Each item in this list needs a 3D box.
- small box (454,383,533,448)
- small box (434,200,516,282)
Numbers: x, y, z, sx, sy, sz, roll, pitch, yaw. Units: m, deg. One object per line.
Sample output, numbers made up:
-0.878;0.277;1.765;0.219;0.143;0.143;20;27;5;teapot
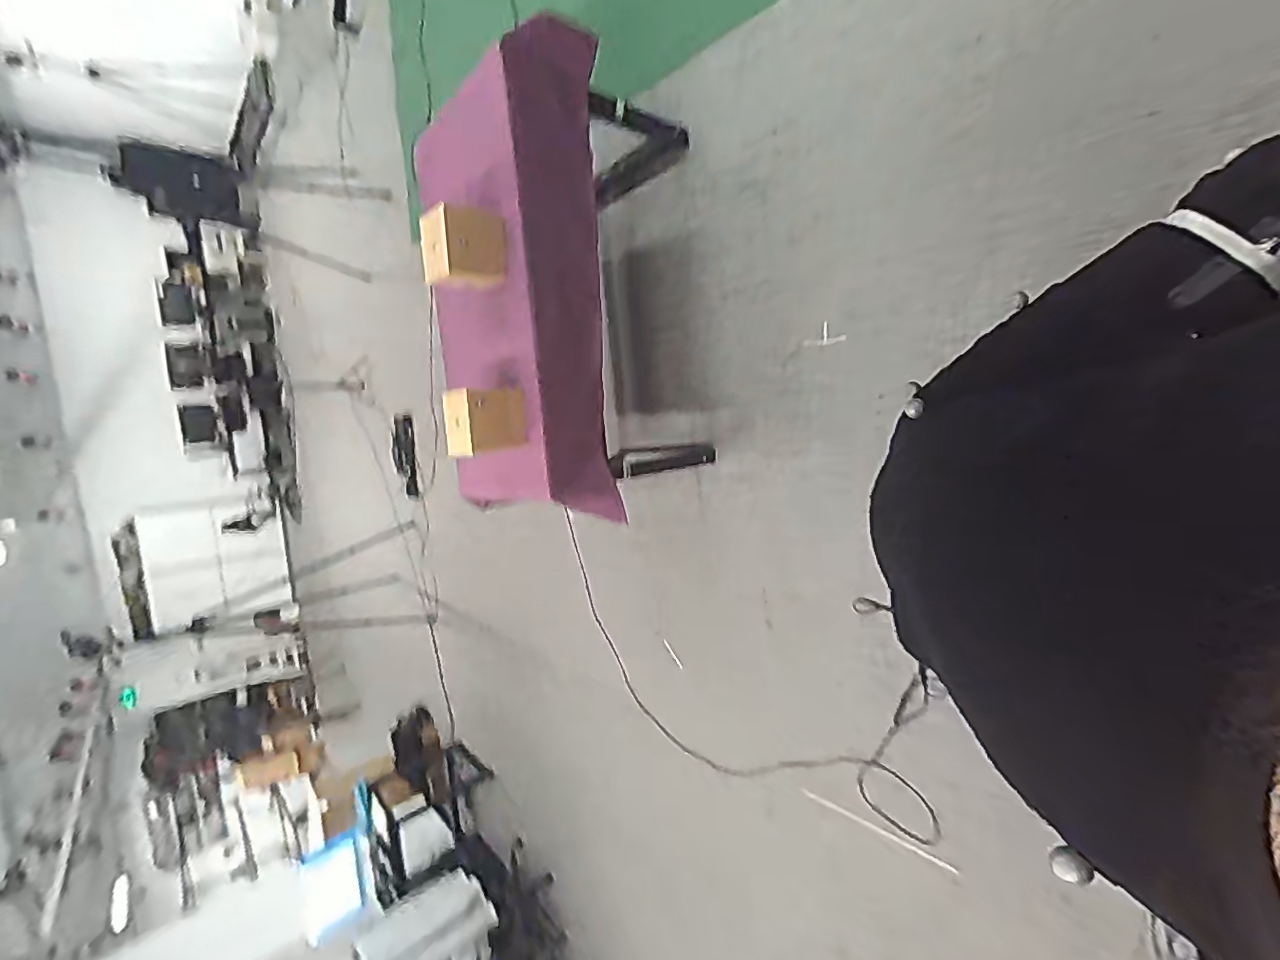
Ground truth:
-0.423;-0.188;1.570;0.168;0.176;0.179;4;99;49;small box
-0.461;-0.662;1.522;0.168;0.176;0.179;10;104;47;small box
